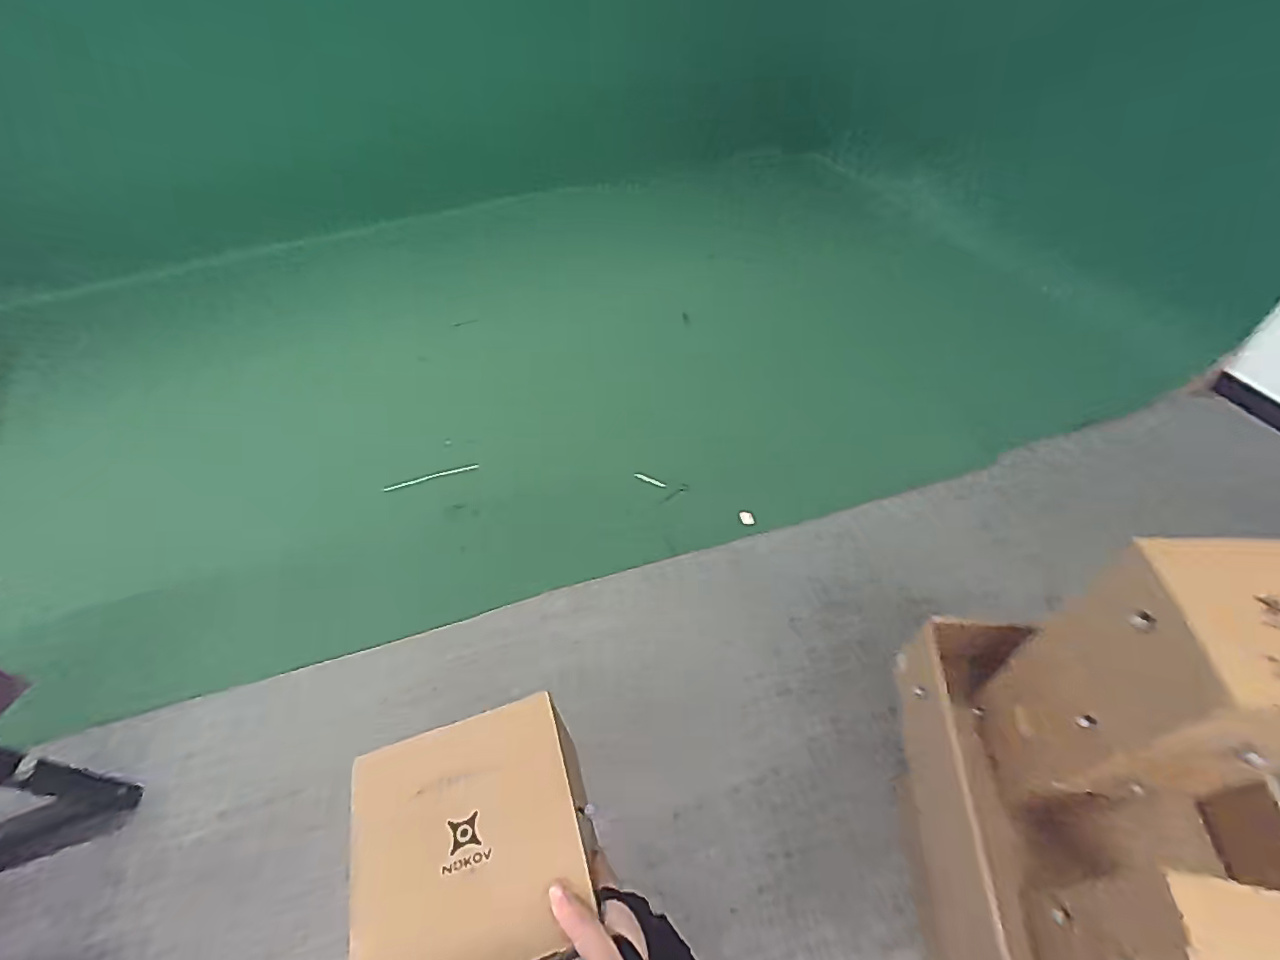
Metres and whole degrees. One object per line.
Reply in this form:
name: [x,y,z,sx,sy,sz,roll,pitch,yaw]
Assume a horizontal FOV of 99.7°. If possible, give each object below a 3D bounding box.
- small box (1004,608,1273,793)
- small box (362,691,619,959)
small box: [0.614,0.286,0.703,0.168,0.176,0.179,1,51,8]
small box: [-0.119,0.315,0.467,0.168,0.176,0.179,-14,51,-10]
